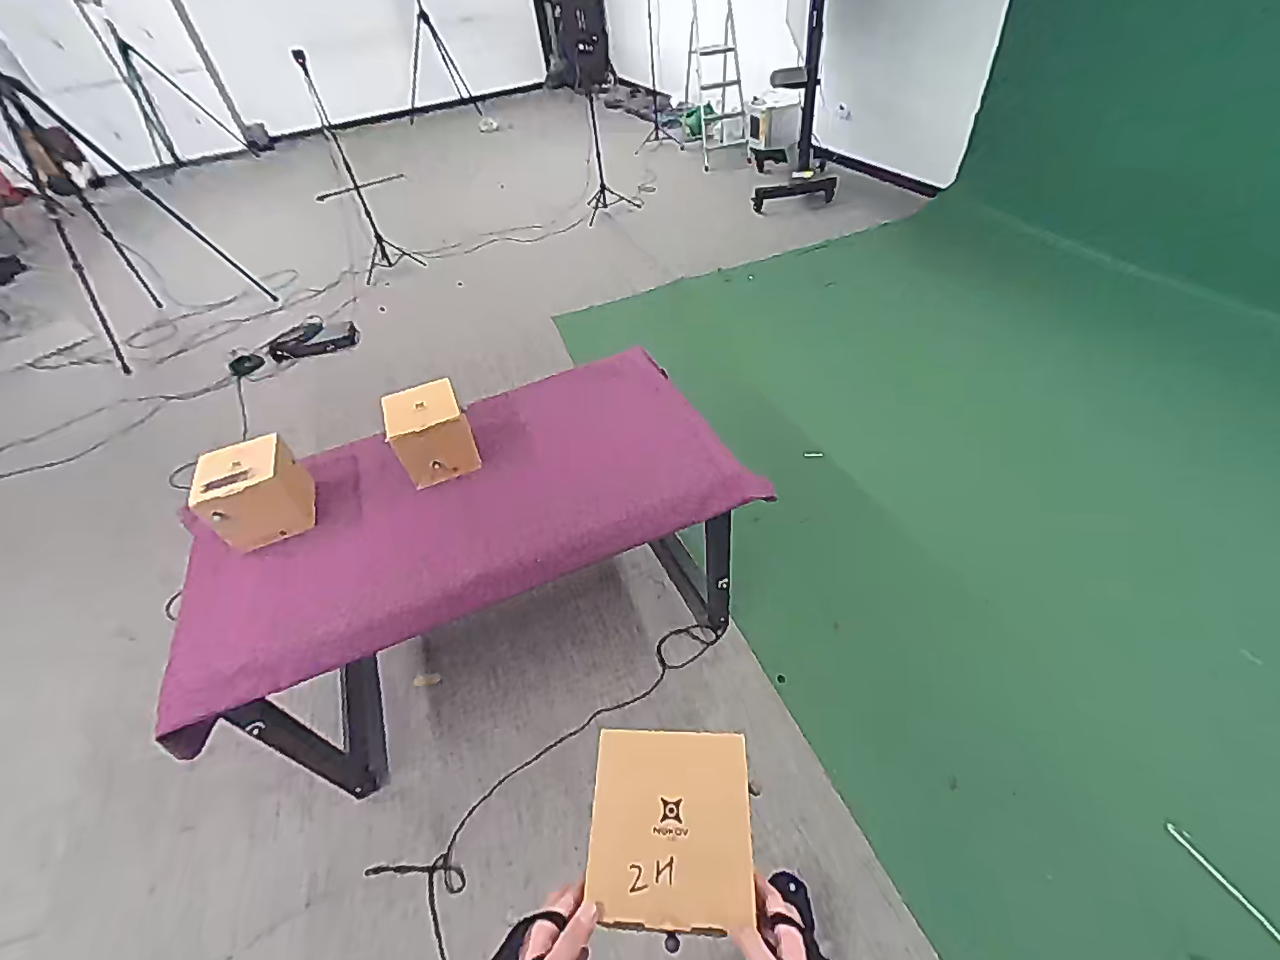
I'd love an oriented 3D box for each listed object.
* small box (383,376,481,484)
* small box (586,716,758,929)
[{"bbox_3d":[-0.503,-0.120,1.313,0.168,0.176,0.179,-20,48,-13],"label":"small box"},{"bbox_3d":[0.041,0.392,0.621,0.168,0.176,0.179,0,49,6],"label":"small box"}]
